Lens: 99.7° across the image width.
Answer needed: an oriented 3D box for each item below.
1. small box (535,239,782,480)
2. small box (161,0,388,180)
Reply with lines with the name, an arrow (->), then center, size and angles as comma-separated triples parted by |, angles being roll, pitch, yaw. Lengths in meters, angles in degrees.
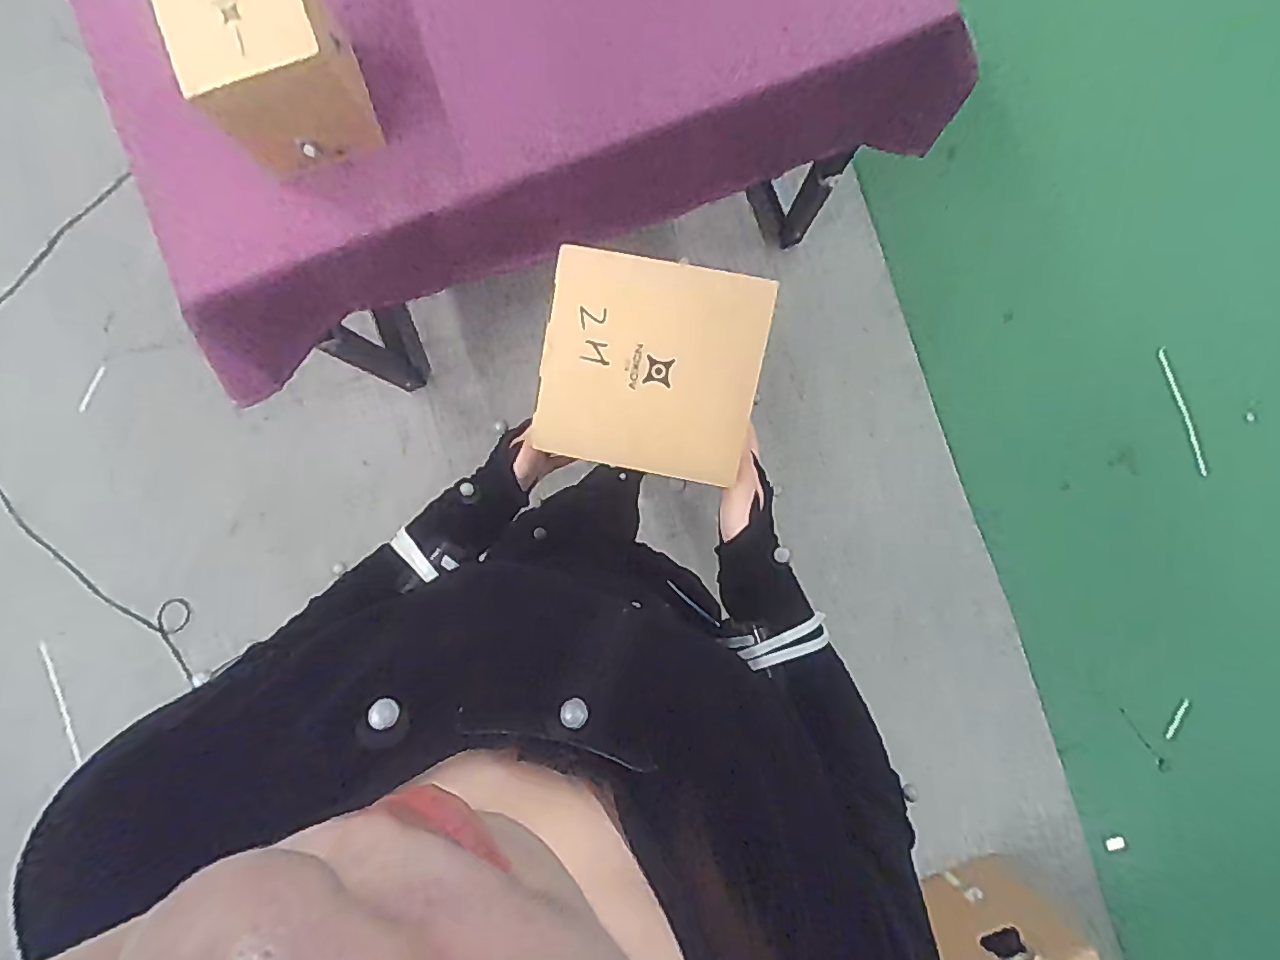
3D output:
small box -> 0.018, -0.107, 0.514 | 0.179, 0.176, 0.168 | 12, 99, 4
small box -> -0.464, -0.538, 0.705 | 0.168, 0.176, 0.179 | -19, 89, -1
